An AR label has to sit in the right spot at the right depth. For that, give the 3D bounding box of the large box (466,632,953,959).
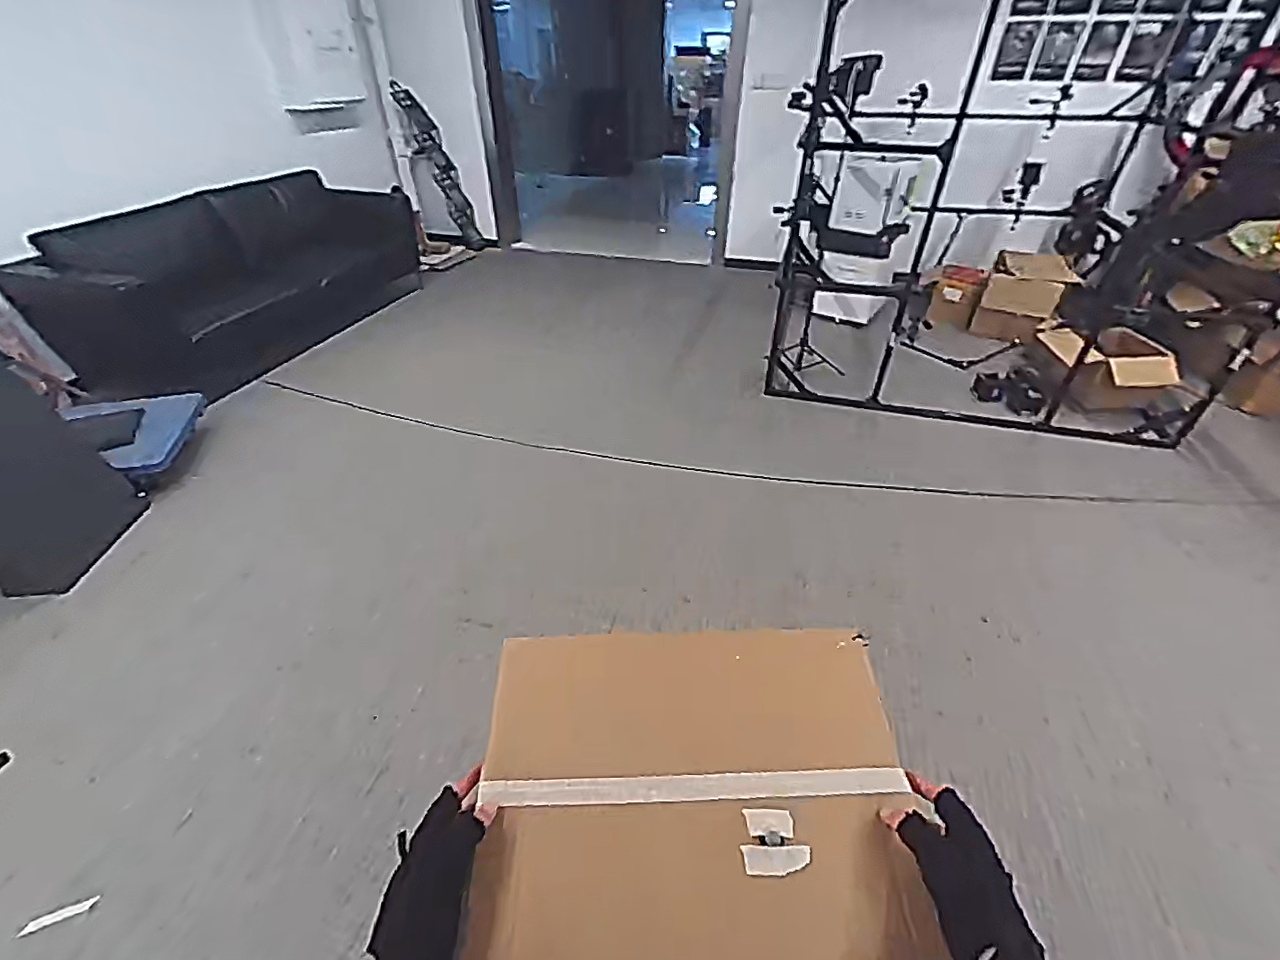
[{"bbox_3d":[0.051,0.398,0.633,0.408,0.320,0.320,-2,48,-1],"label":"large box"}]
